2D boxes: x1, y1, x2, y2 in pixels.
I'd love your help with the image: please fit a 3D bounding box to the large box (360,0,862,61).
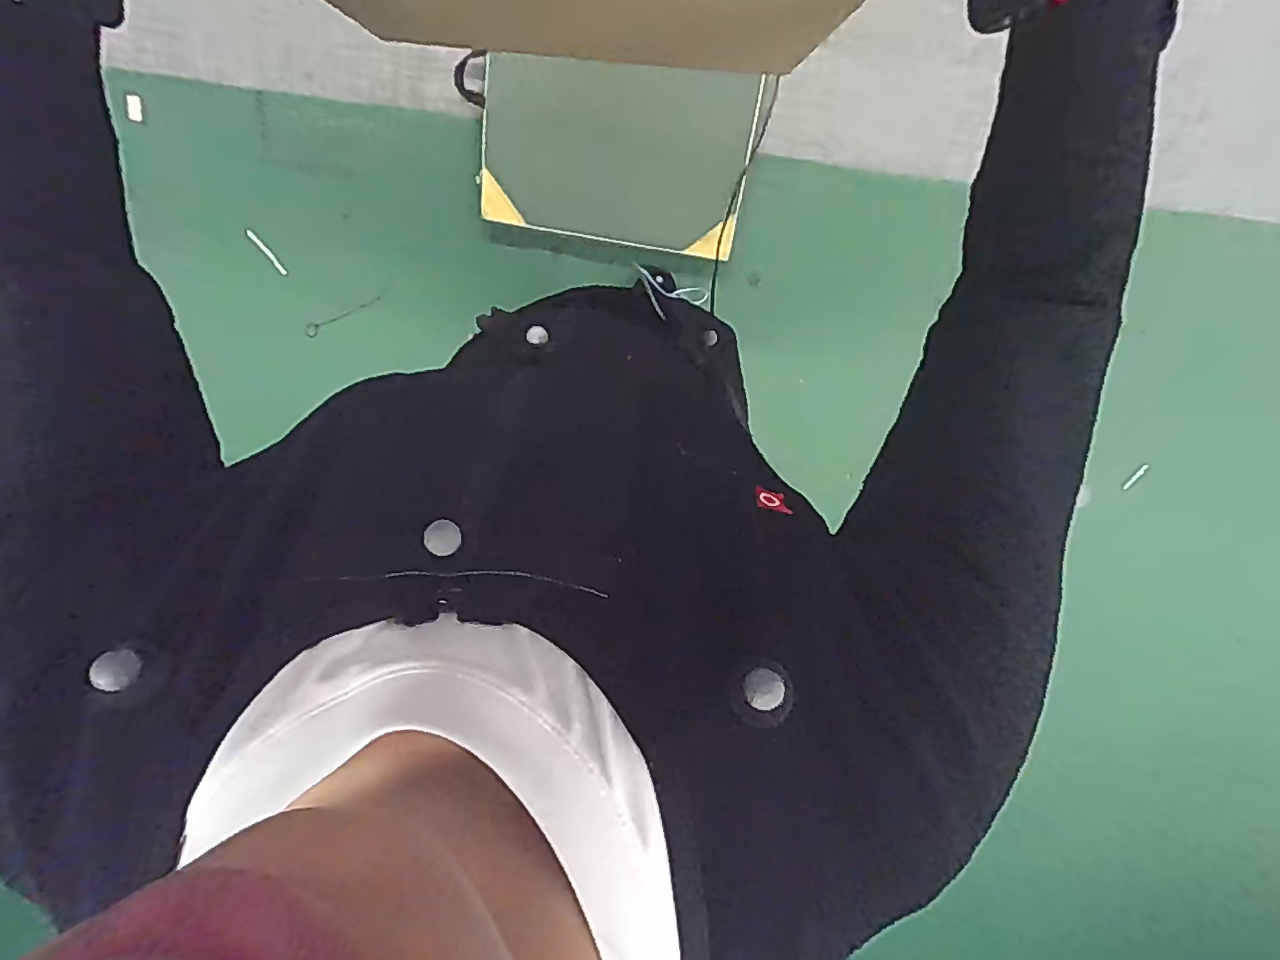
[{"bbox_3d":[-0.027,-0.492,0.328,0.408,0.320,0.320,3,116,-3],"label":"large box"}]
